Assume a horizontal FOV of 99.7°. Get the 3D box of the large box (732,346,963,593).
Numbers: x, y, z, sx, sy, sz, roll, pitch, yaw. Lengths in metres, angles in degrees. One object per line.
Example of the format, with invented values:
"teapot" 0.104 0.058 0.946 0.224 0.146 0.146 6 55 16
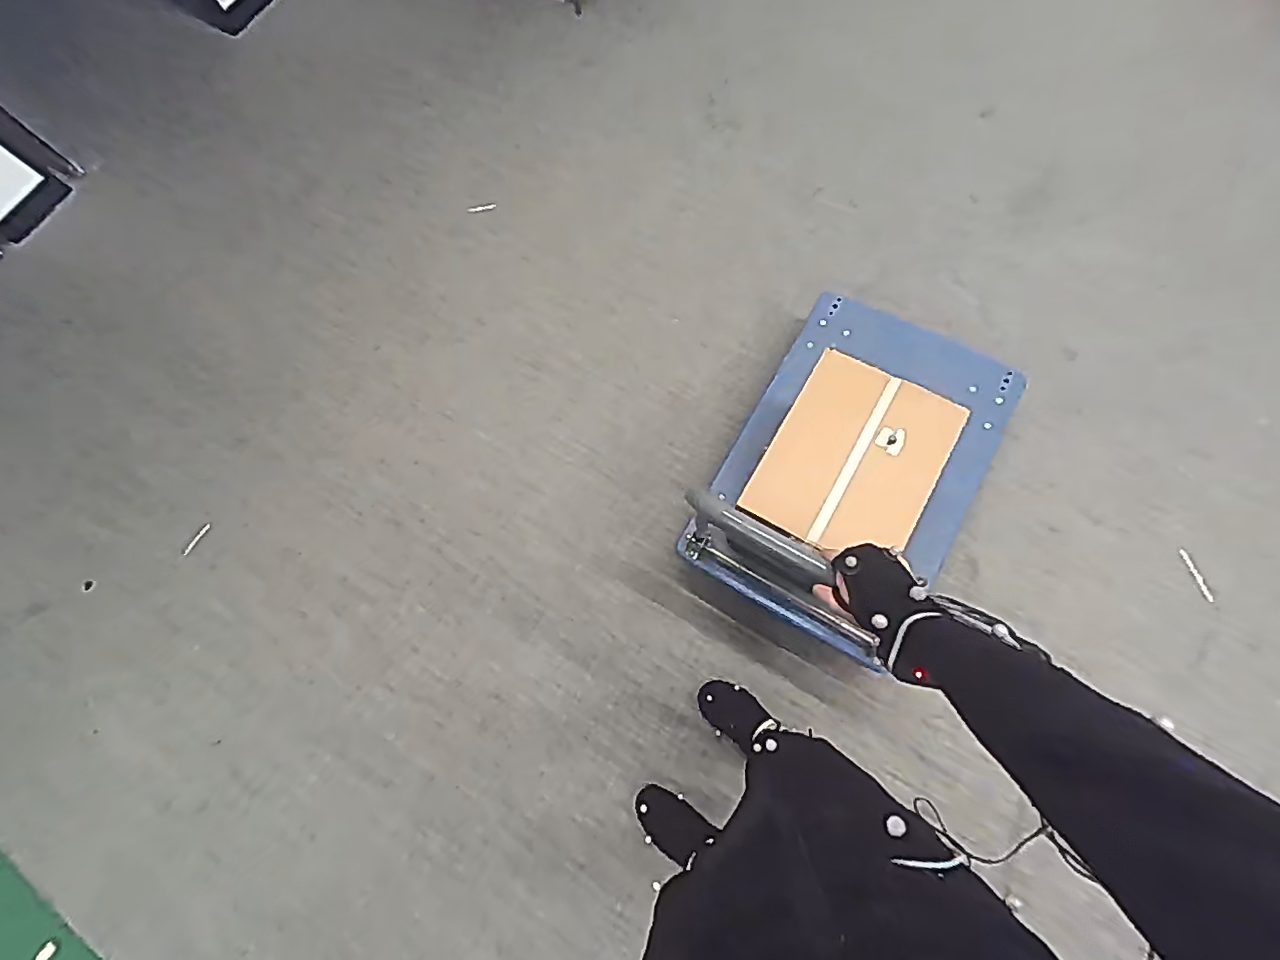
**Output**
"large box" 0.436 -0.007 1.218 0.320 0.320 0.408 29 77 13
